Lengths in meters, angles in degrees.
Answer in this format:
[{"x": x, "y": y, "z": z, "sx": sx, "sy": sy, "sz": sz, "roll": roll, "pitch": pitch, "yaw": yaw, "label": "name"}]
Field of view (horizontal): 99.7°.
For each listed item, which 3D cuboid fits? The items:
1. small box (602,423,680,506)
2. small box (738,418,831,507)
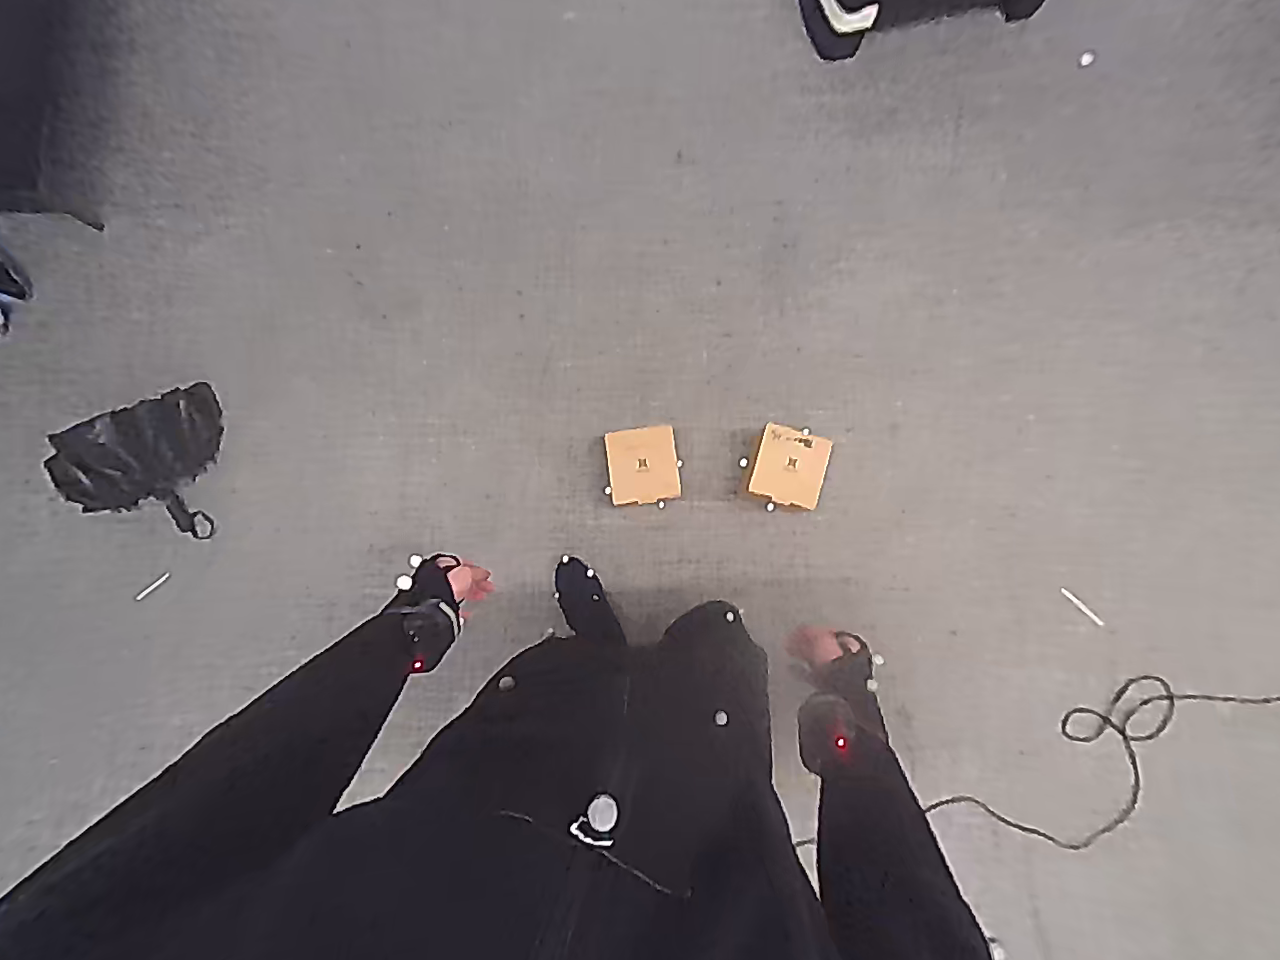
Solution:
[{"x": 0.001, "y": -0.032, "z": 1.350, "sx": 0.168, "sy": 0.176, "sz": 0.179, "roll": -9, "pitch": 83, "yaw": -3, "label": "small box"}, {"x": 0.351, "y": -0.035, "z": 1.351, "sx": 0.168, "sy": 0.176, "sz": 0.179, "roll": 16, "pitch": 85, "yaw": 2, "label": "small box"}]
